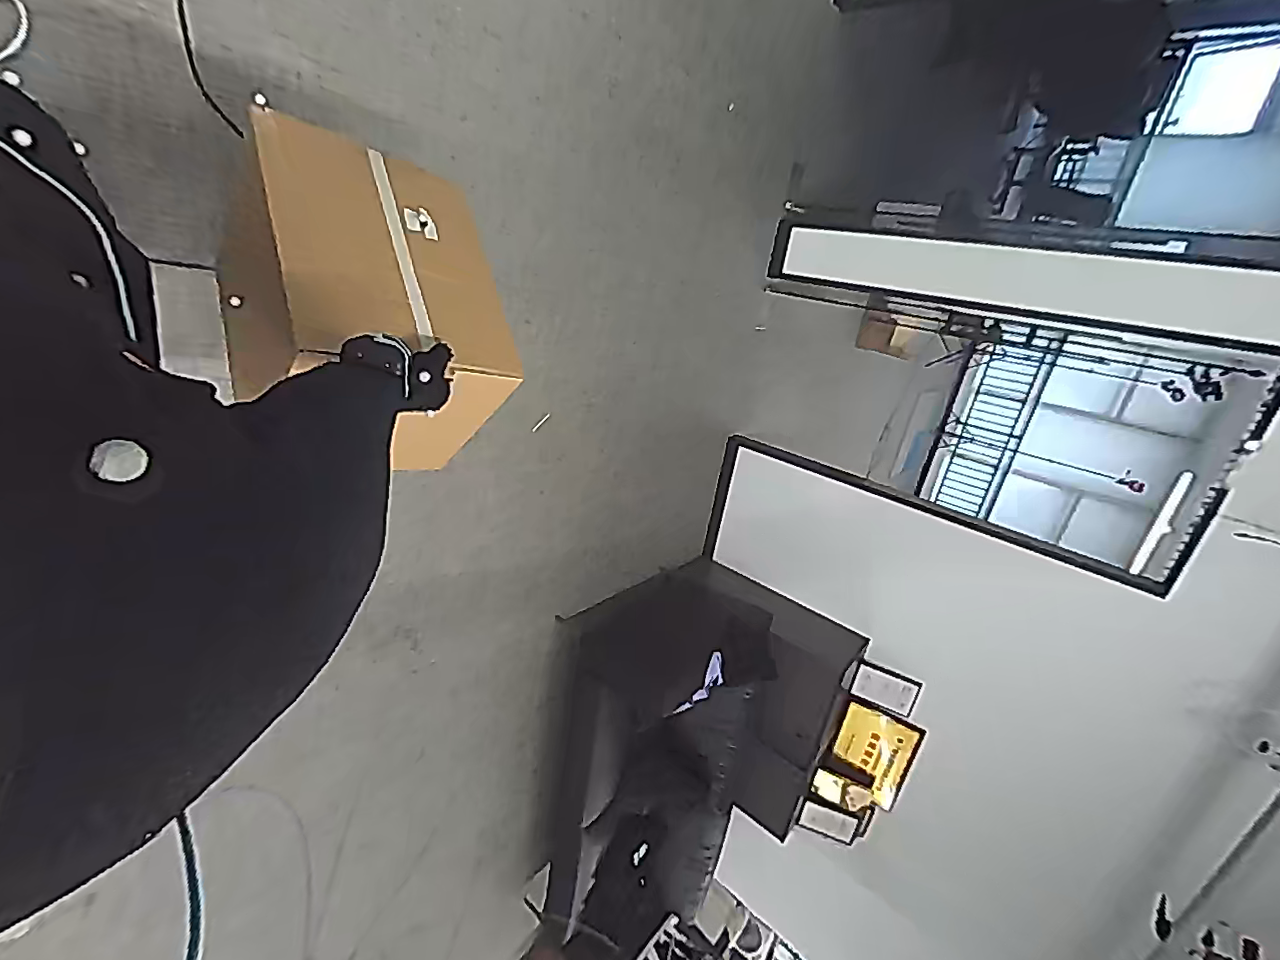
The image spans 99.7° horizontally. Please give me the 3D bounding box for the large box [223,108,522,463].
[{"bbox_3d":[-0.451,-0.272,0.887,0.320,0.408,0.320,-2,156,-48],"label":"large box"}]
